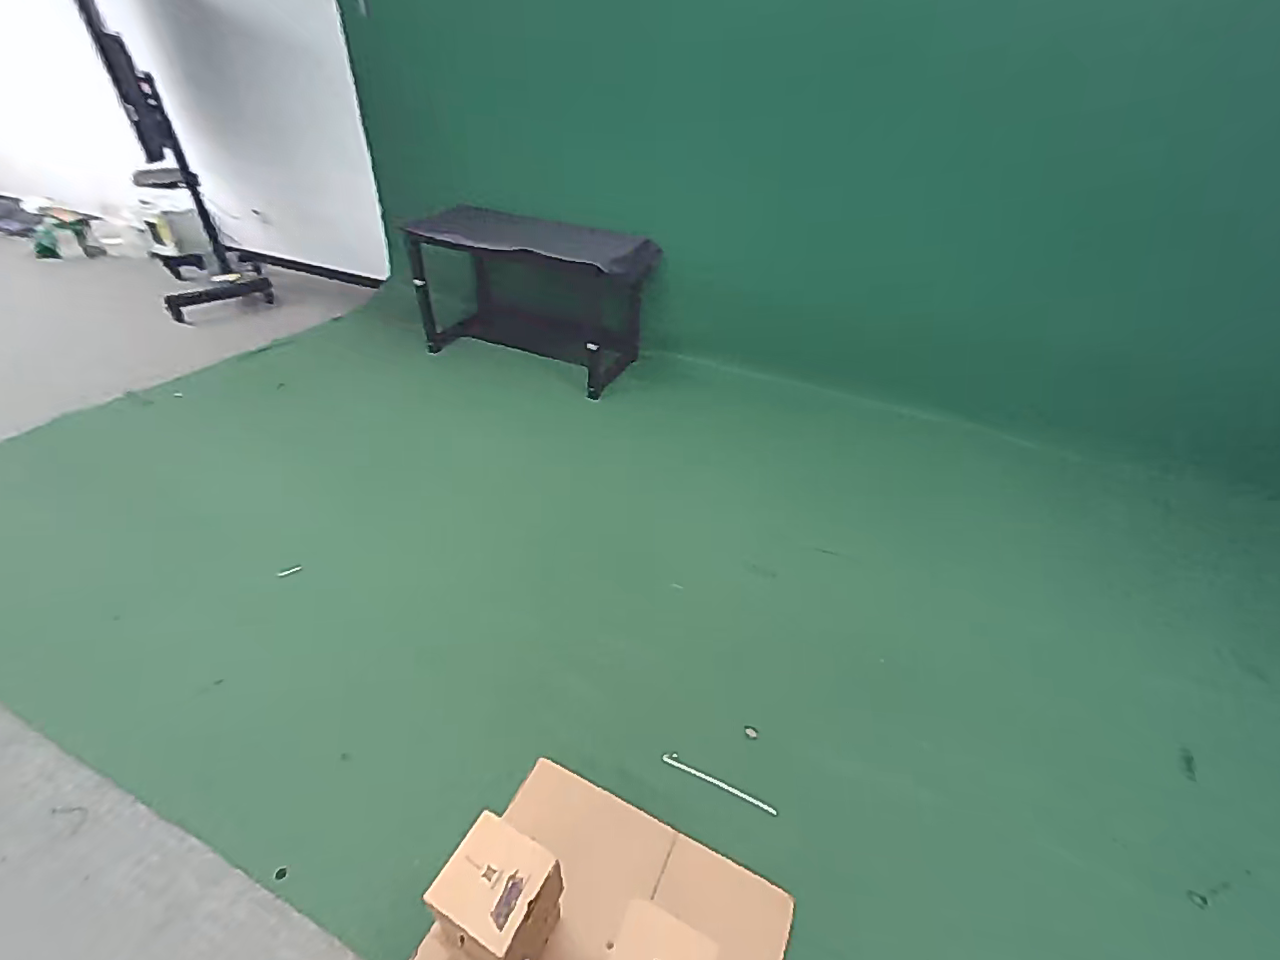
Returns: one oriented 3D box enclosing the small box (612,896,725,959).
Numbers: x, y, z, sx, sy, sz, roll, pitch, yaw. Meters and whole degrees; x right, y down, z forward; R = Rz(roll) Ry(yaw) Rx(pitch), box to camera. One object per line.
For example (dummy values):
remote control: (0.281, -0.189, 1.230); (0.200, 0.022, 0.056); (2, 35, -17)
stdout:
small box: (0.028, 0.865, 0.912); (0.168, 0.176, 0.179); (18, 40, 20)

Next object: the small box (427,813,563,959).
small box: (-0.257, 0.774, 1.004); (0.179, 0.176, 0.168); (18, 39, 22)
